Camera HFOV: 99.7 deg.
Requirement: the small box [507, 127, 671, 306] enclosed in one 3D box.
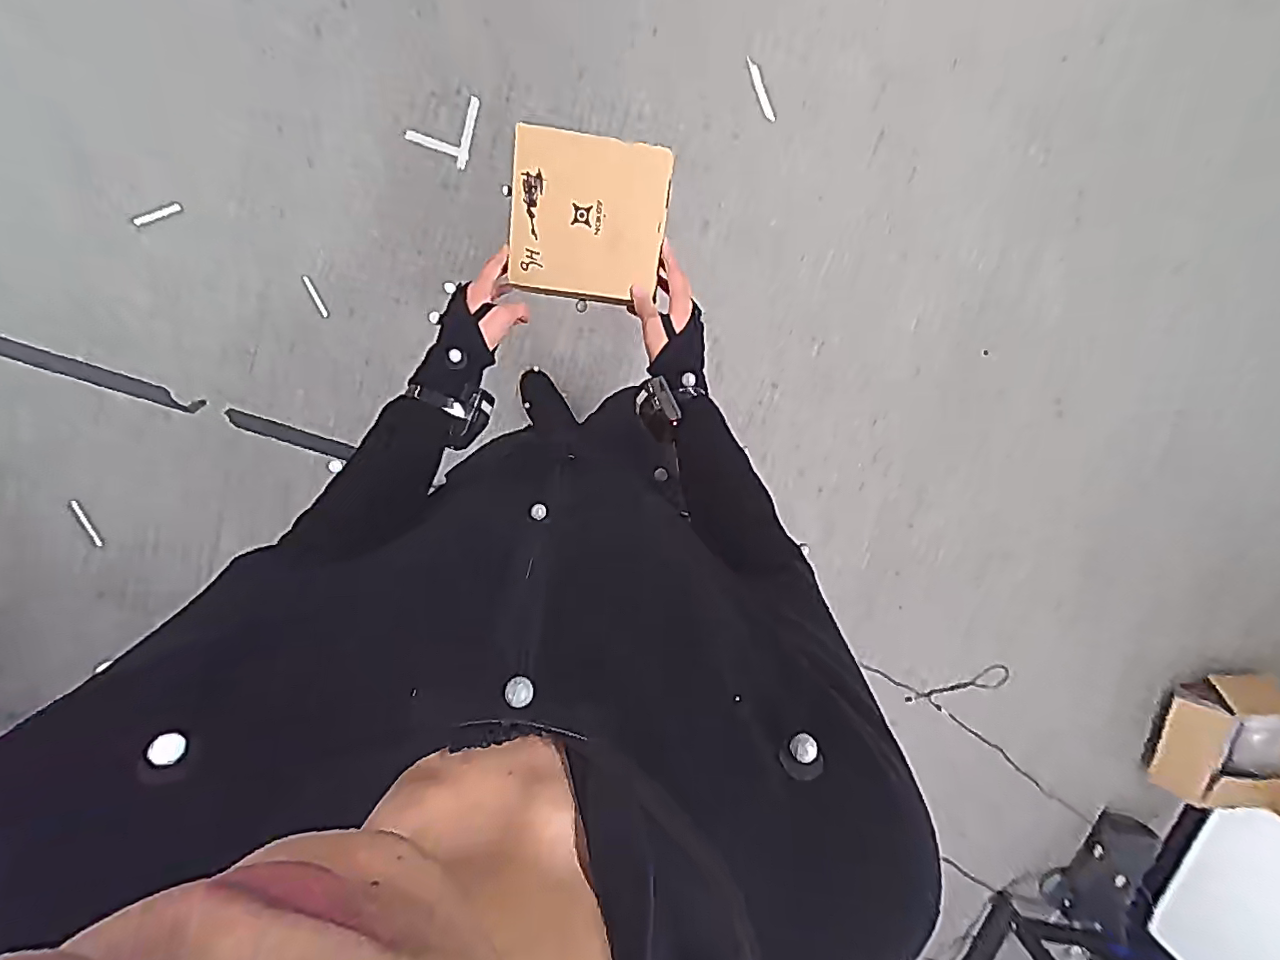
[{"bbox_3d":[-0.069,-0.323,0.697,0.179,0.176,0.168,5,106,-8],"label":"small box"}]
